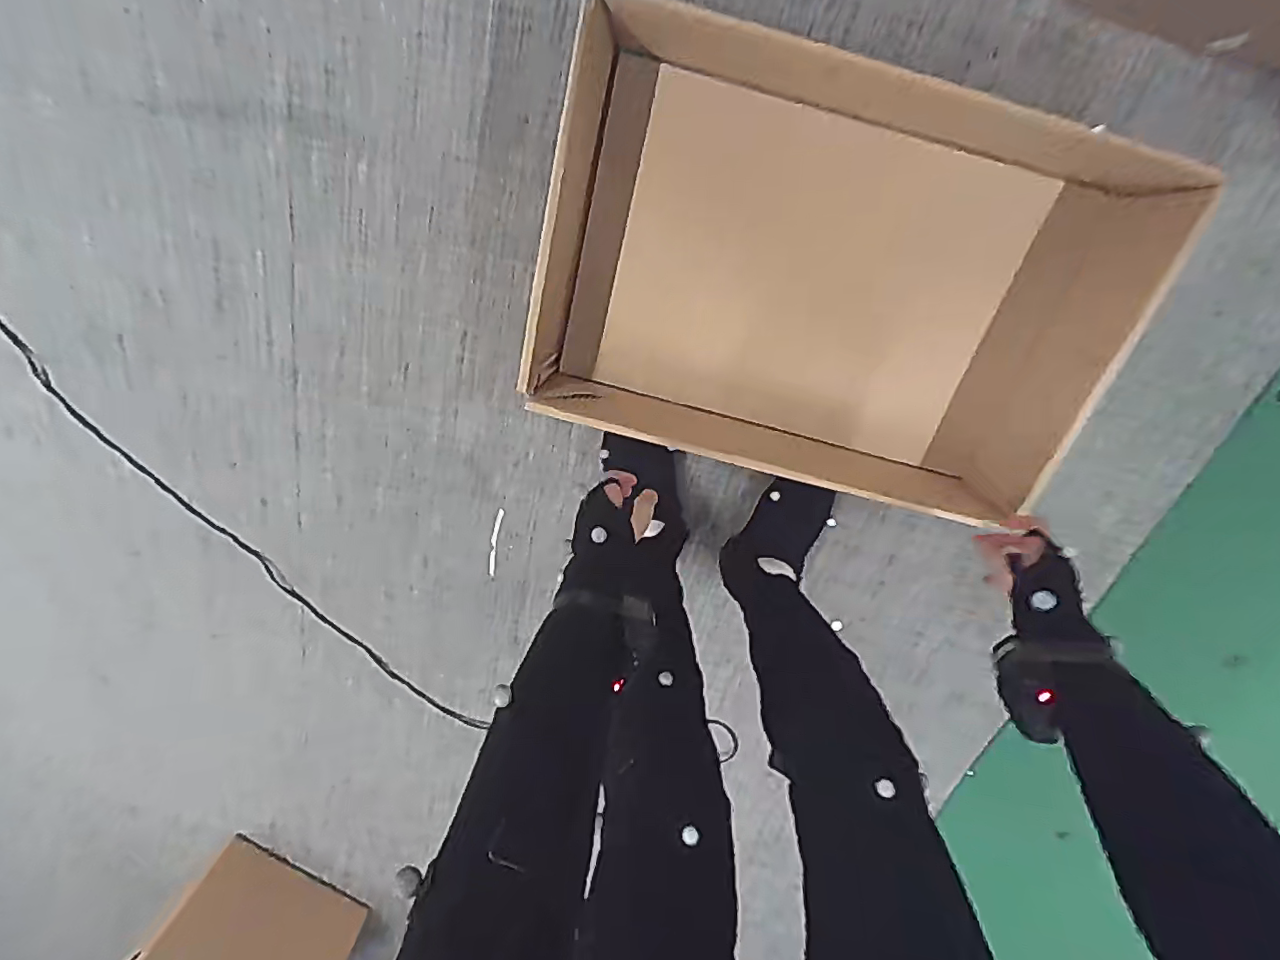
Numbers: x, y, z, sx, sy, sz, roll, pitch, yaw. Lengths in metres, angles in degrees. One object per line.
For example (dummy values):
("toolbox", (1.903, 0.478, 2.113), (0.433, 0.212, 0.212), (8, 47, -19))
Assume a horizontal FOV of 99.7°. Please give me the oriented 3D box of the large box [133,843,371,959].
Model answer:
("large box", (-0.950, 1.167, 1.279), (0.408, 0.320, 0.320), (43, 110, -12))
